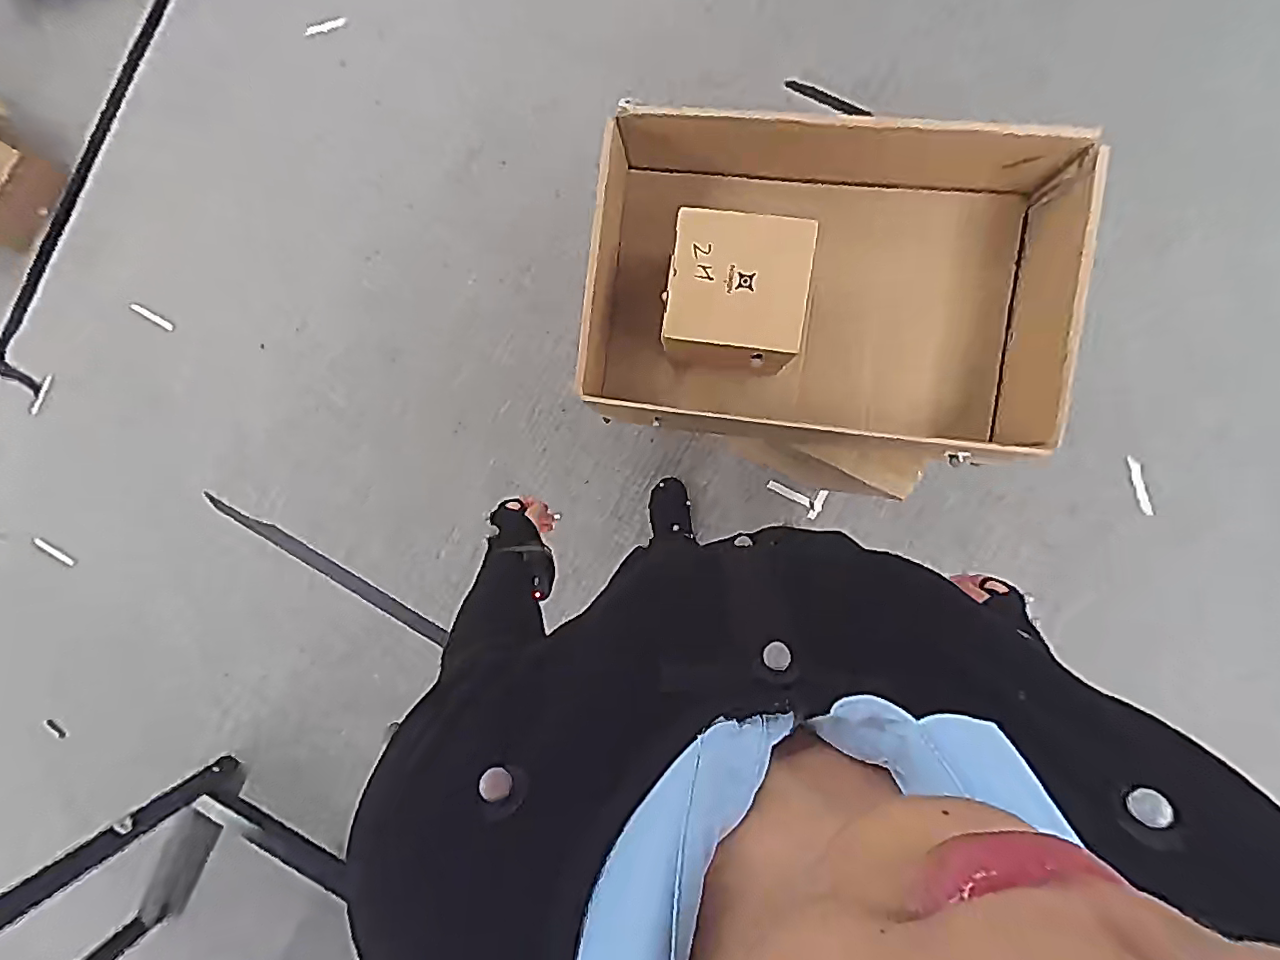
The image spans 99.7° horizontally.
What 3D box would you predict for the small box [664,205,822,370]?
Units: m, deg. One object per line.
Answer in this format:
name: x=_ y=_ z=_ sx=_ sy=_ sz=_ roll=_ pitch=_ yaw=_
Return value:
small box: x=0.134 y=-0.254 z=0.753 sx=0.179 sy=0.176 sz=0.168 roll=8 pitch=92 yaw=5
